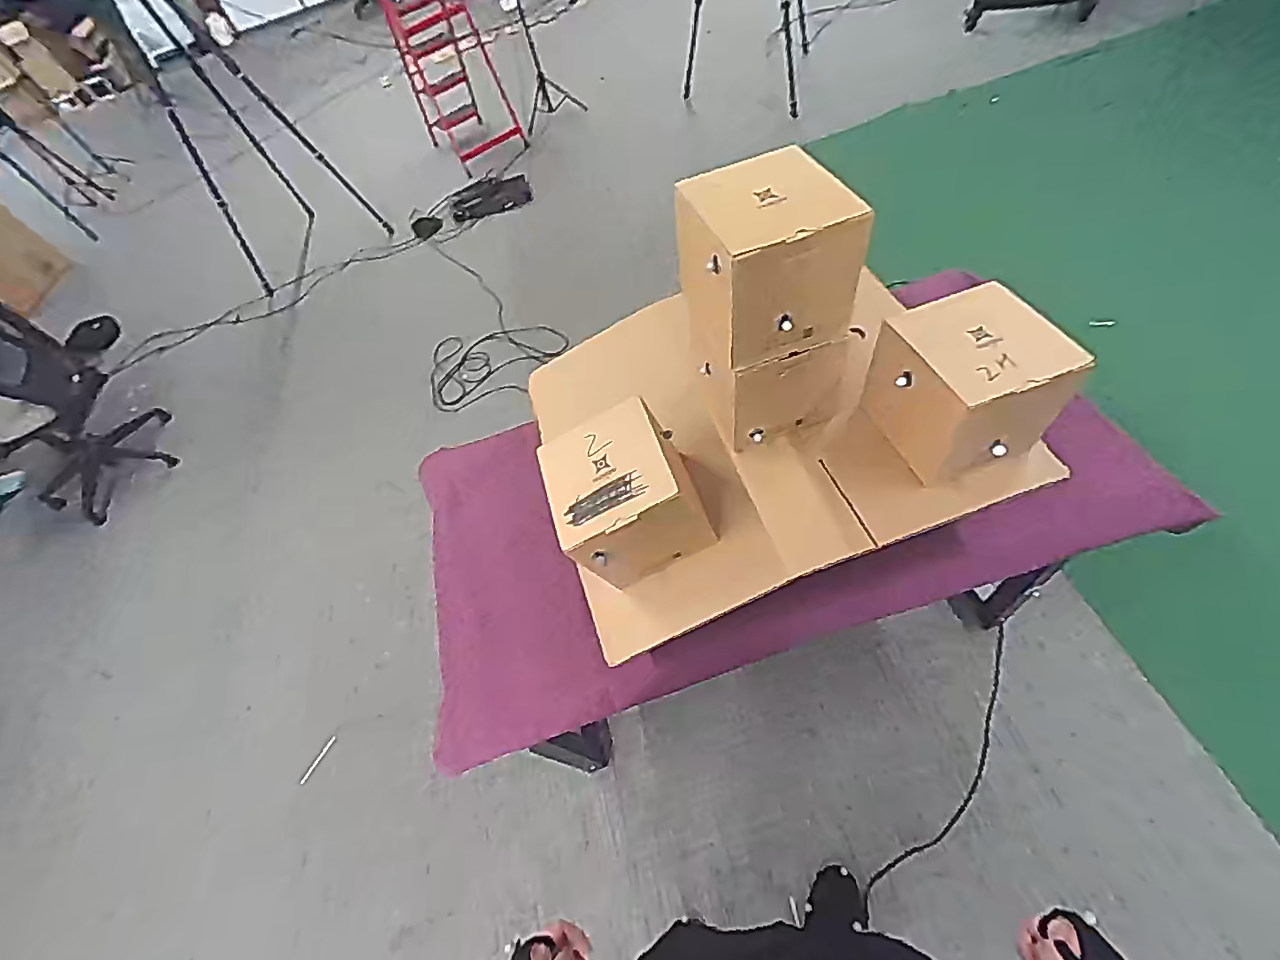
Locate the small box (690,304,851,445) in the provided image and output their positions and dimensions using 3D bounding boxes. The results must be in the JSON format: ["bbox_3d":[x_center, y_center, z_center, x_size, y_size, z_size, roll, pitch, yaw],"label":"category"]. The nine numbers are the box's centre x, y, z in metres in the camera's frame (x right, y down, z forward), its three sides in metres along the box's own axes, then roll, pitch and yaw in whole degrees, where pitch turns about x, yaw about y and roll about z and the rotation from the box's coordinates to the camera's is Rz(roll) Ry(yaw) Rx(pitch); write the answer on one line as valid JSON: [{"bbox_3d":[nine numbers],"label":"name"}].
[{"bbox_3d":[0.185,-0.174,0.806,0.168,0.176,0.179,-19,54,-4],"label":"small box"}]

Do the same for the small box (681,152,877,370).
[{"bbox_3d":[0.158,-0.270,0.679,0.168,0.176,0.179,-20,56,-5],"label":"small box"}]

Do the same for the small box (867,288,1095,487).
[{"bbox_3d":[0.433,-0.120,0.728,0.168,0.176,0.179,-19,55,-3],"label":"small box"}]
